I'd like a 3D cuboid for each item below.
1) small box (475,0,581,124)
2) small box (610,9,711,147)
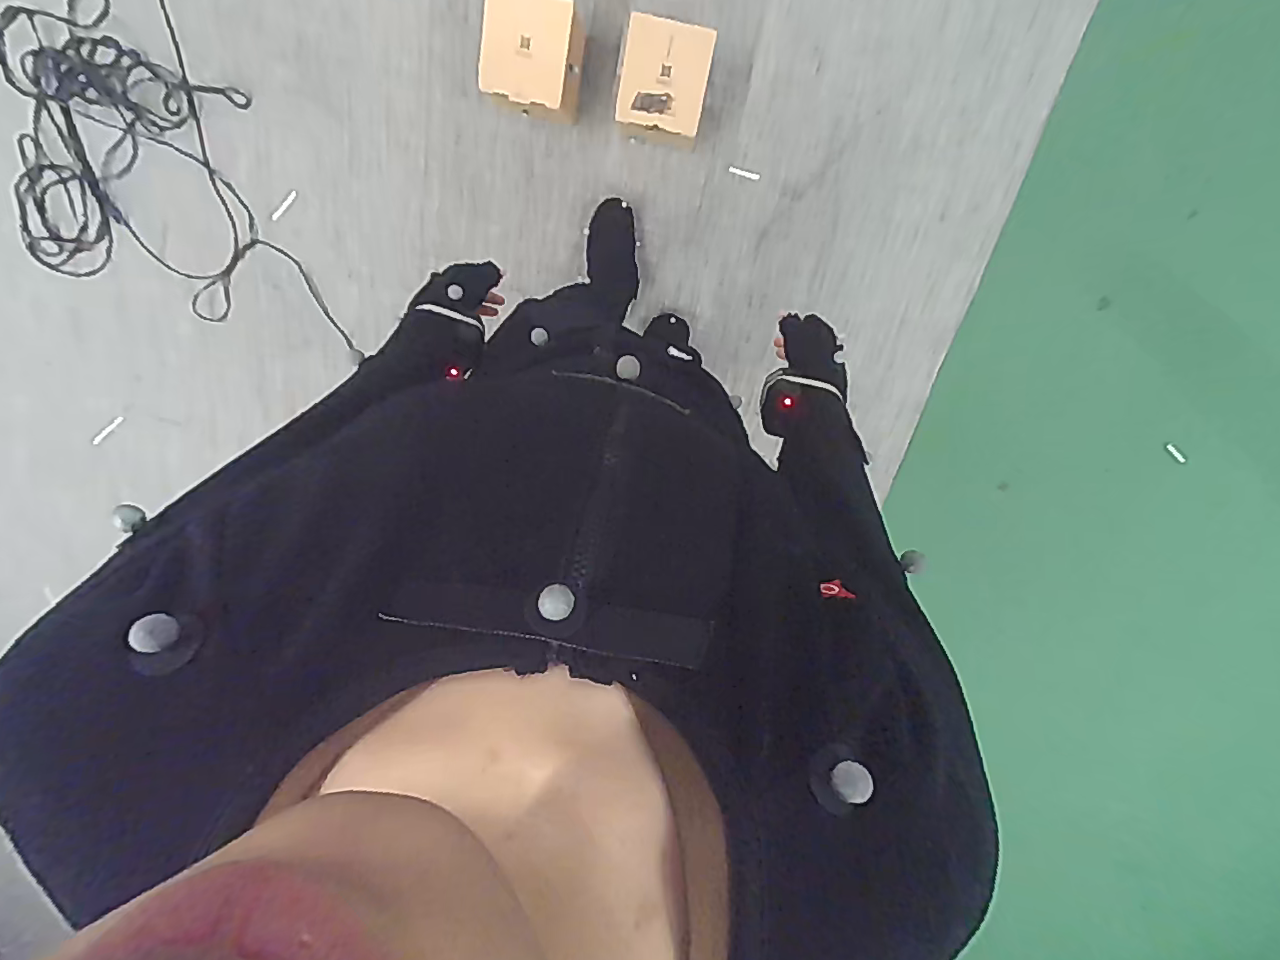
[{"bbox_3d":[-0.220,-0.854,1.094,0.168,0.176,0.179,12,113,-2],"label":"small box"},{"bbox_3d":[0.041,-0.802,1.101,0.168,0.176,0.179,12,112,-2],"label":"small box"}]
